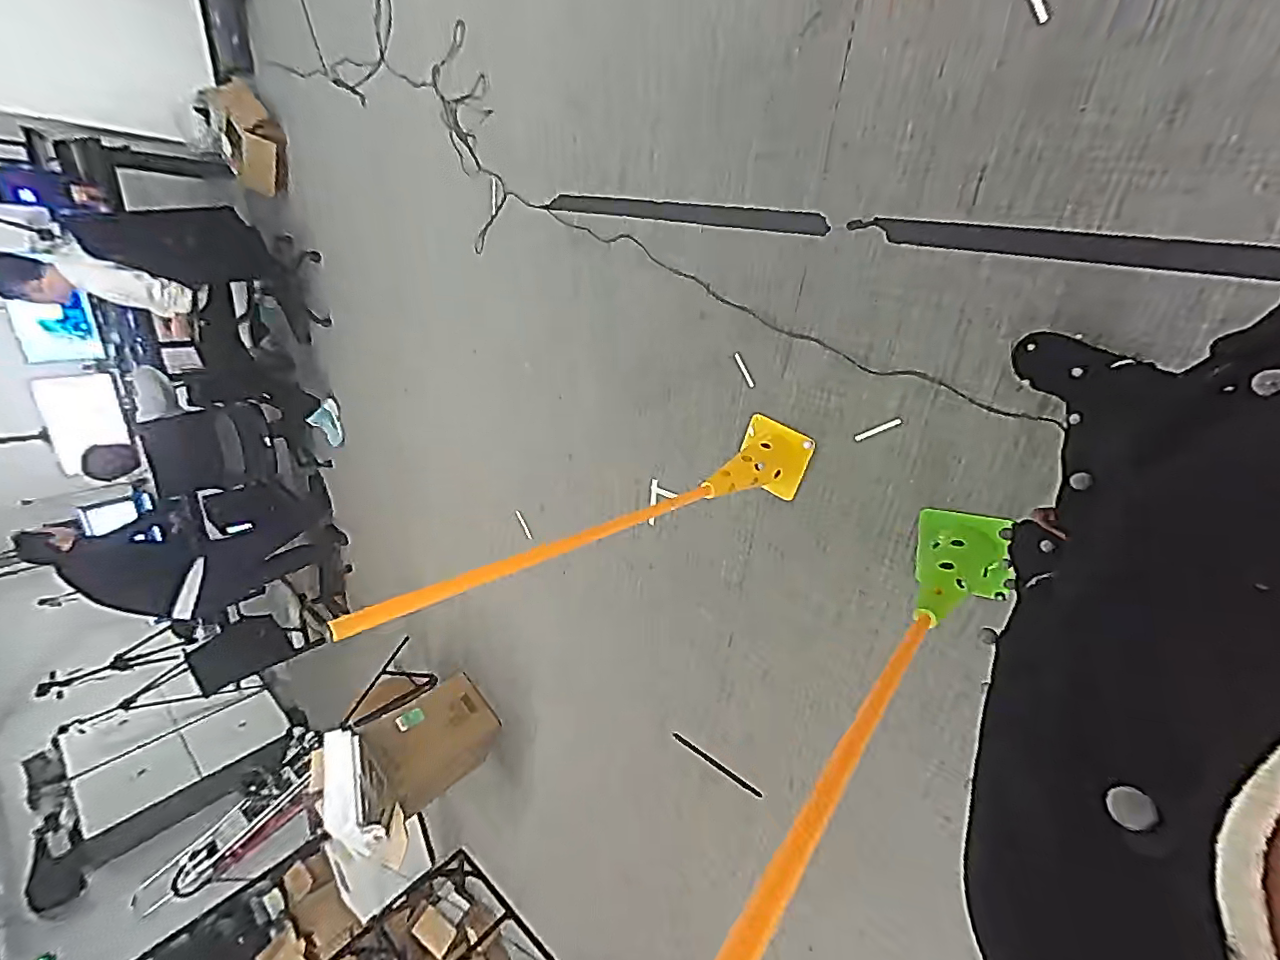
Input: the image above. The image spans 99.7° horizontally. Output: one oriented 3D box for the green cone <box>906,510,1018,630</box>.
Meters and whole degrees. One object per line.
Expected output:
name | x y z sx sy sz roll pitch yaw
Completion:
green cone | 0.643 0.217 1.138 0.202 0.368 0.200 8 110 41
